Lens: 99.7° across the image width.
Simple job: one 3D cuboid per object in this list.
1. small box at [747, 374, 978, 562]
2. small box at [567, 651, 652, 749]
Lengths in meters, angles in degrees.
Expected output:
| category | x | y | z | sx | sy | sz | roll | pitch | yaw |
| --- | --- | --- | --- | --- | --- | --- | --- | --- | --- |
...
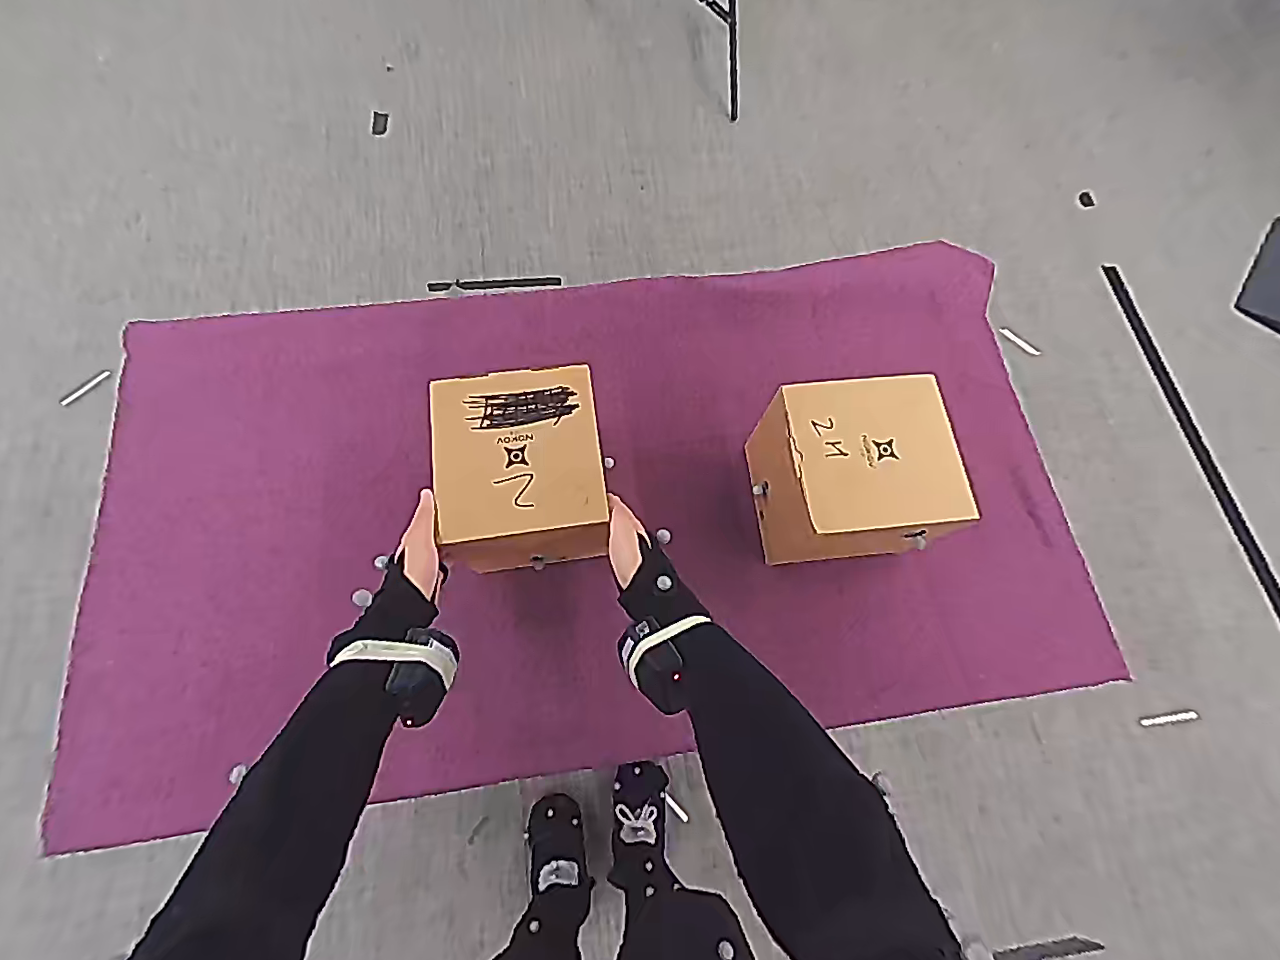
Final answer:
| category | x | y | z | sx | sy | sz | roll | pitch | yaw |
| --- | --- | --- | --- | --- | --- | --- | --- | --- | --- |
| small box | 0.239 | -0.006 | 0.629 | 0.179 | 0.176 | 0.168 | -5 | 71 | -4 |
| small box | -0.071 | 0.487 | 1.216 | 0.168 | 0.176 | 0.179 | -7 | 73 | -5 |
